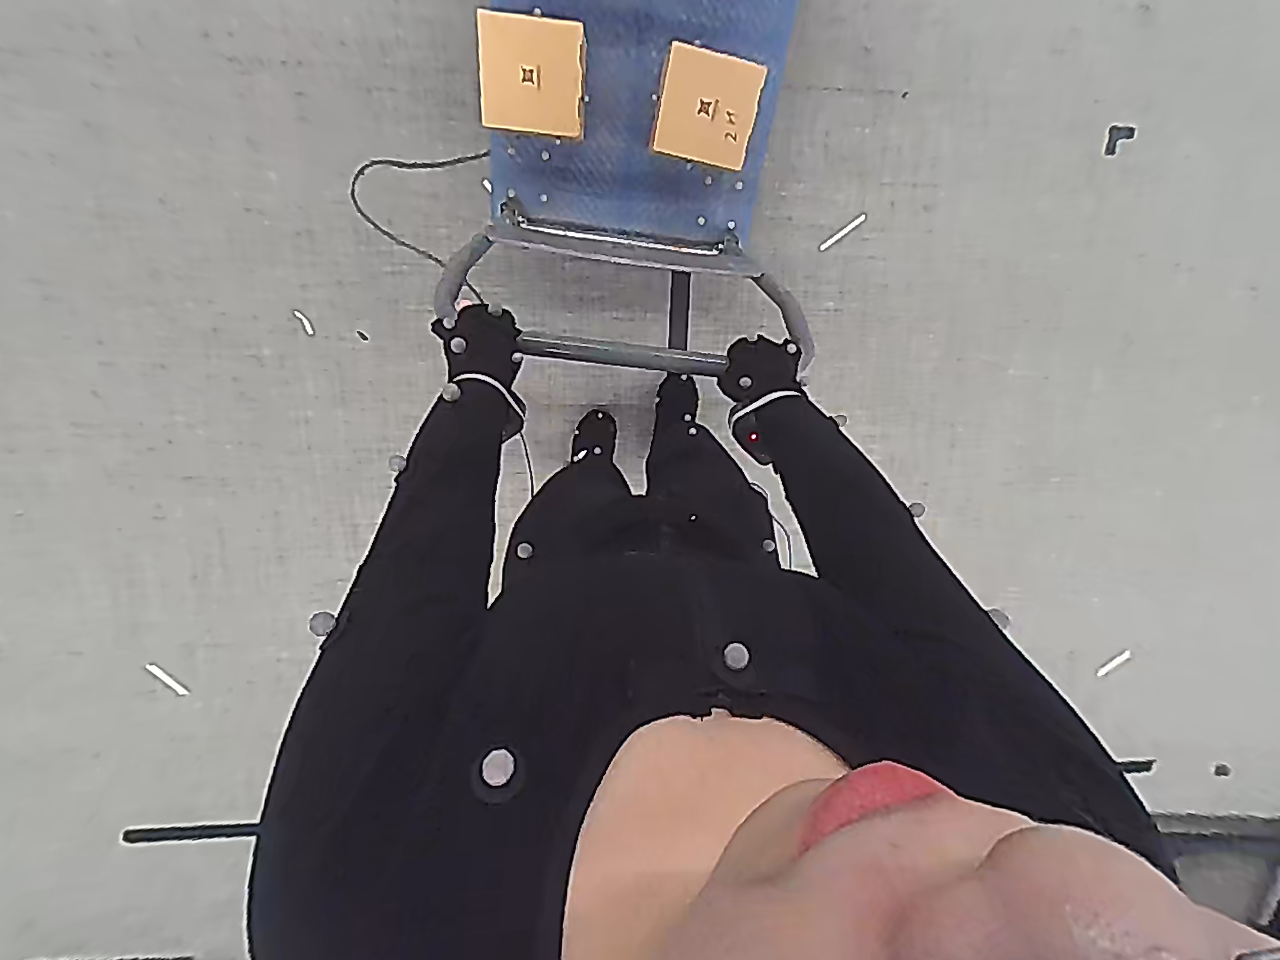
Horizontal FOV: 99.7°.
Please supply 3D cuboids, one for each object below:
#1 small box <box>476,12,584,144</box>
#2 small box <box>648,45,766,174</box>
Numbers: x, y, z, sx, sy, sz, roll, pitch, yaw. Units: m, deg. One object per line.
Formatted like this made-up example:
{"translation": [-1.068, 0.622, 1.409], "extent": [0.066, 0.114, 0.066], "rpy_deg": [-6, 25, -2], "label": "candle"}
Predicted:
{"translation": [-0.197, -0.732, 1.005], "extent": [0.179, 0.176, 0.168], "rpy_deg": [2, 119, -7], "label": "small box"}
{"translation": [0.117, -0.700, 1.042], "extent": [0.179, 0.176, 0.168], "rpy_deg": [9, 119, -9], "label": "small box"}
